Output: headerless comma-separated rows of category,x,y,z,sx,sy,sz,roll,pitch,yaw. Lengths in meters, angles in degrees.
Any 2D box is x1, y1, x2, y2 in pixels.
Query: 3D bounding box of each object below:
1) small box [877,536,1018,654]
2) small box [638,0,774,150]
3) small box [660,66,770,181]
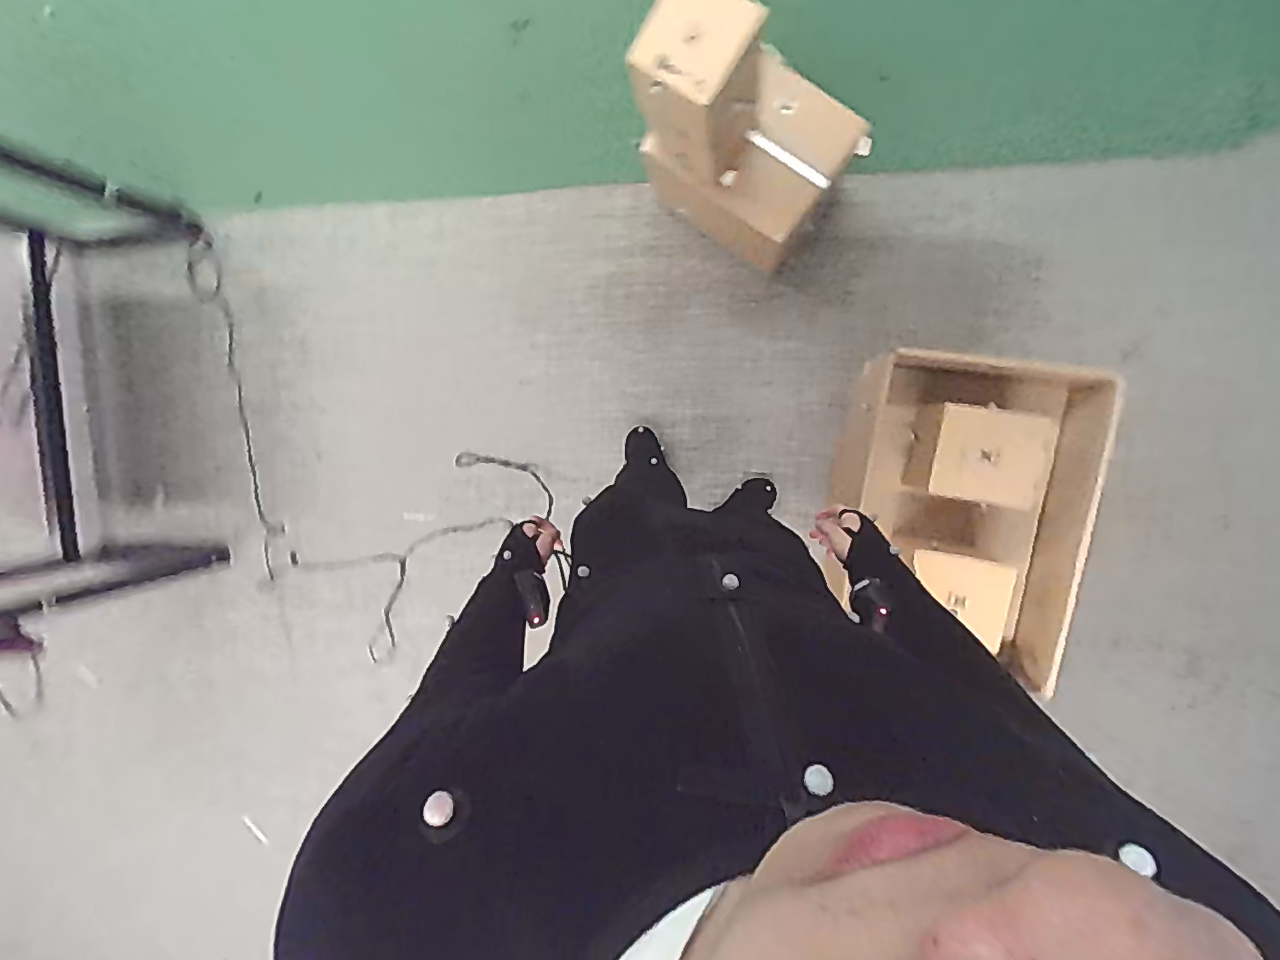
small box,0.594,0.216,1.067,0.179,0.176,0.168,10,97,9
small box,0.118,-0.754,0.981,0.168,0.176,0.179,36,100,4
small box,0.150,-0.780,1.140,0.168,0.176,0.179,37,101,4
